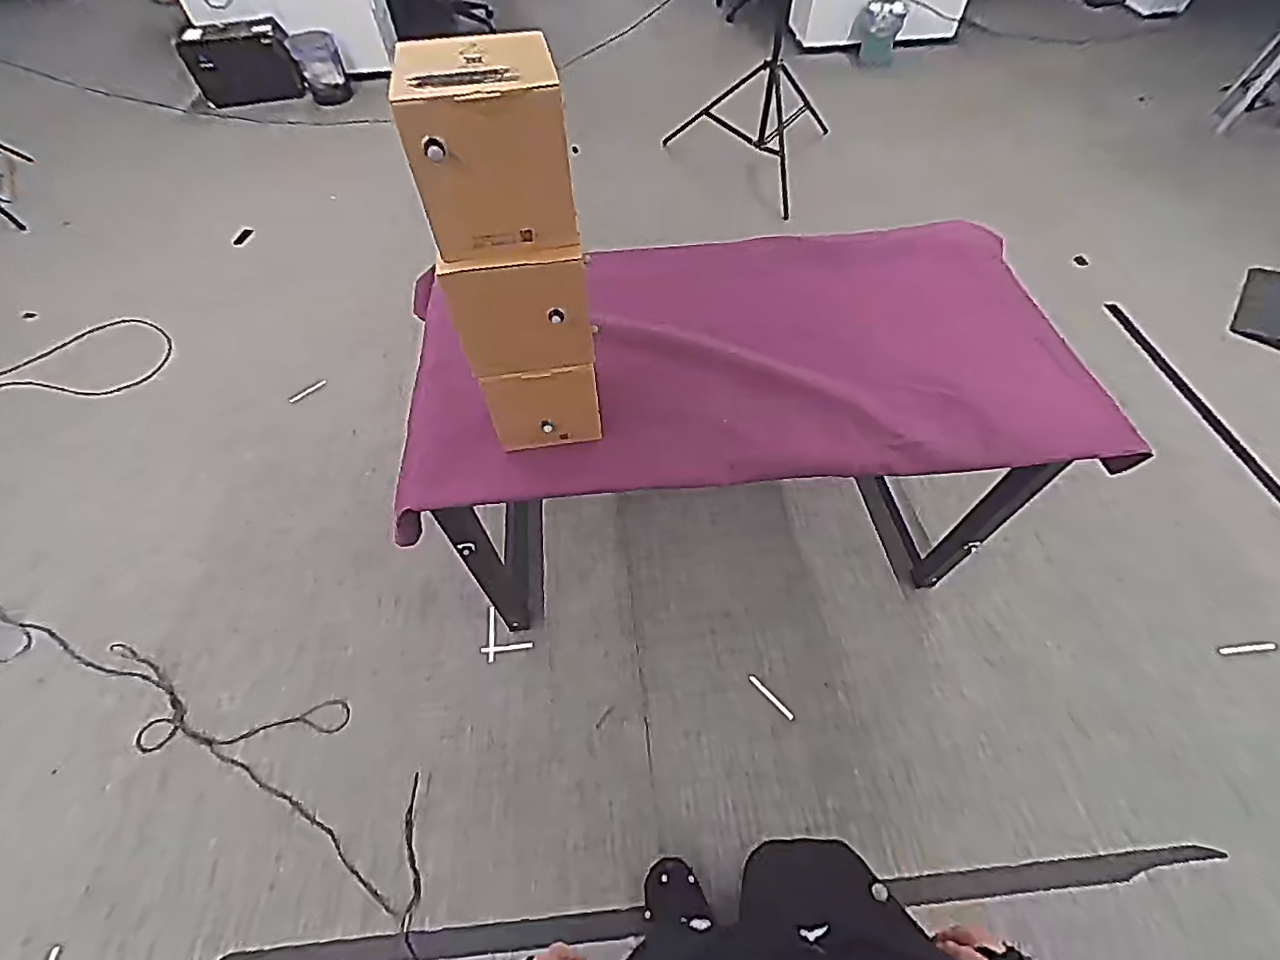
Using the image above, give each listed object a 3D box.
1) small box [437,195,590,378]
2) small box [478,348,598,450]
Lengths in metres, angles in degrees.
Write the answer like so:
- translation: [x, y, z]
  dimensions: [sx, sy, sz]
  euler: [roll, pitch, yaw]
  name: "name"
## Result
- translation: [-0.166, -0.265, 0.754]
  dimensions: [0.179, 0.176, 0.168]
  euler: [-9, 55, -4]
  name: "small box"
- translation: [-0.162, -0.174, 0.888]
  dimensions: [0.168, 0.176, 0.179]
  euler: [-8, 56, -4]
  name: "small box"
